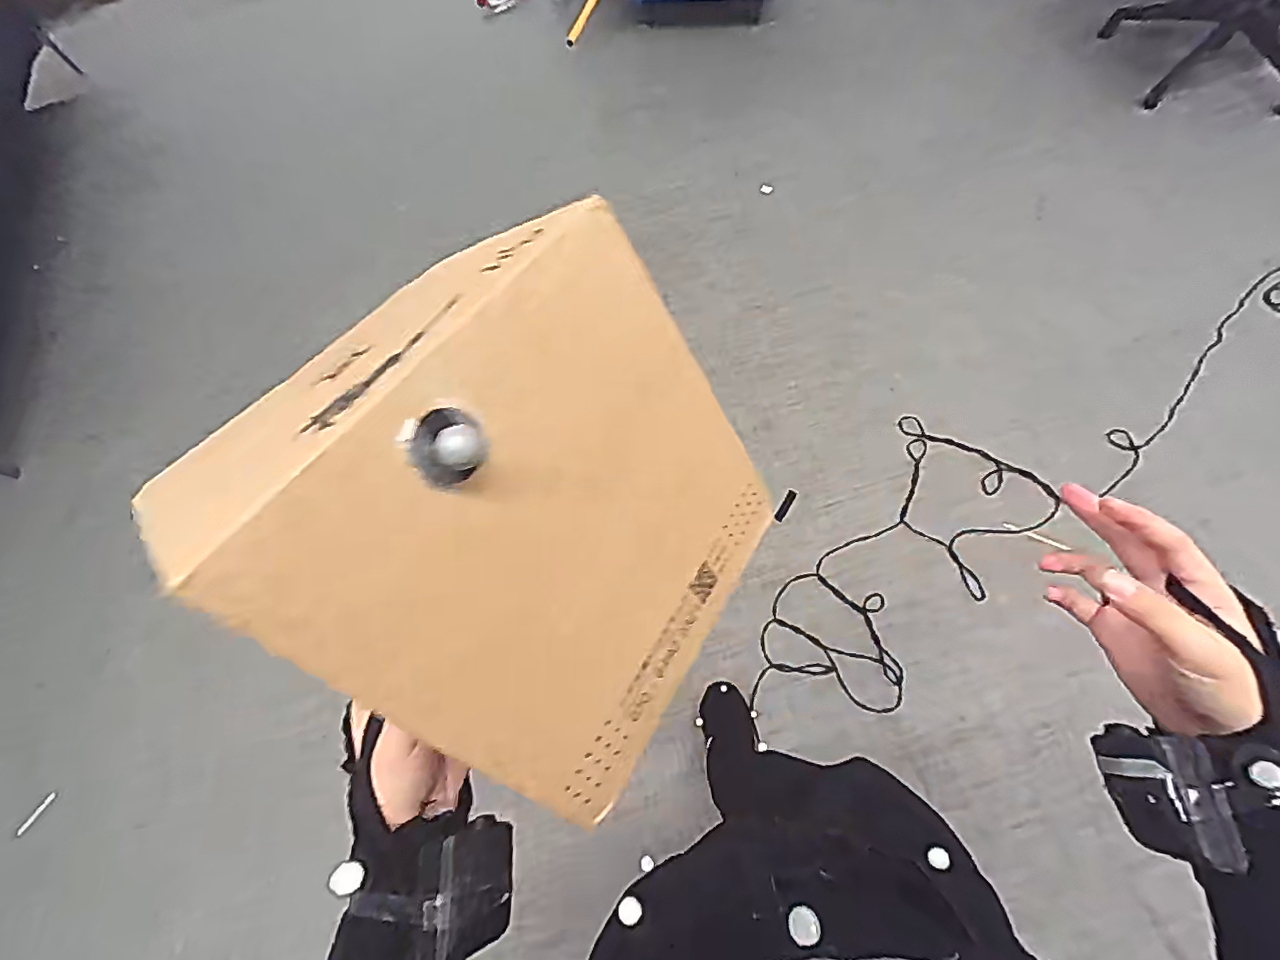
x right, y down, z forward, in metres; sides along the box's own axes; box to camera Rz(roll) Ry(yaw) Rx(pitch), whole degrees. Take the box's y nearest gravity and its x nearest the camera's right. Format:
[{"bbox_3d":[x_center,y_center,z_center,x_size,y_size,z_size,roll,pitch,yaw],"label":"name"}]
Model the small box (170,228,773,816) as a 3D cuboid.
[{"bbox_3d":[-0.069,0.021,0.258,0.179,0.176,0.168,5,52,46],"label":"small box"}]
